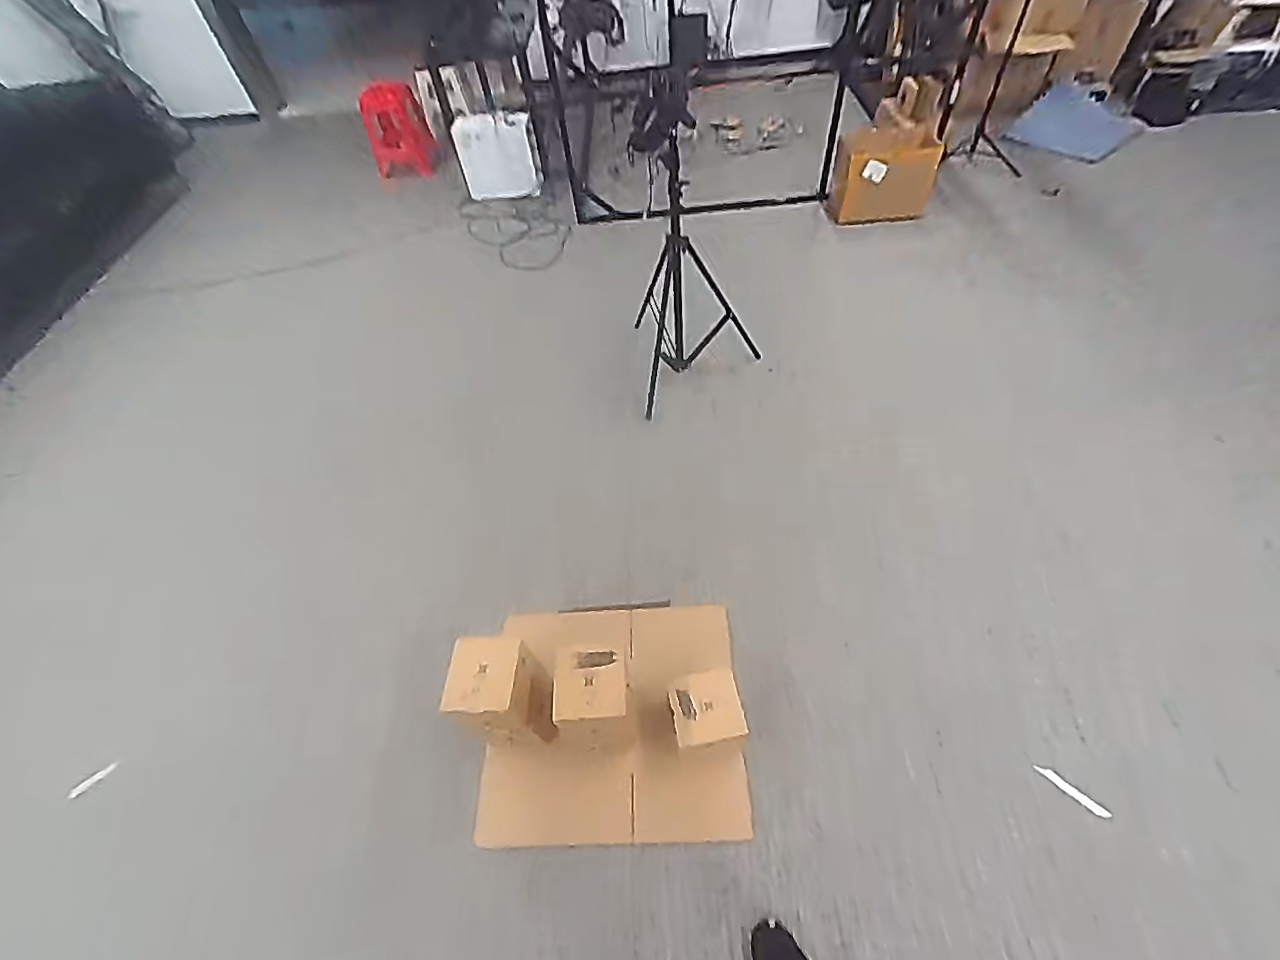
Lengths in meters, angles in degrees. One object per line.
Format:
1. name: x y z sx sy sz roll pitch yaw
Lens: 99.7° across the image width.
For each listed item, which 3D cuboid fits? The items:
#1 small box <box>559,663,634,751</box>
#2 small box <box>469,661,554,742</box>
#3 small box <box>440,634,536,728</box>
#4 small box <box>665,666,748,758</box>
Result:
1. small box: -0.107 0.600 1.427 0.168 0.176 0.179 -1 53 6
2. small box: -0.336 0.599 1.453 0.168 0.176 0.179 -2 53 5
3. small box: -0.361 0.494 1.328 0.168 0.176 0.179 -2 53 6
4. small box: 0.170 0.602 1.394 0.179 0.176 0.168 -11 53 -2
